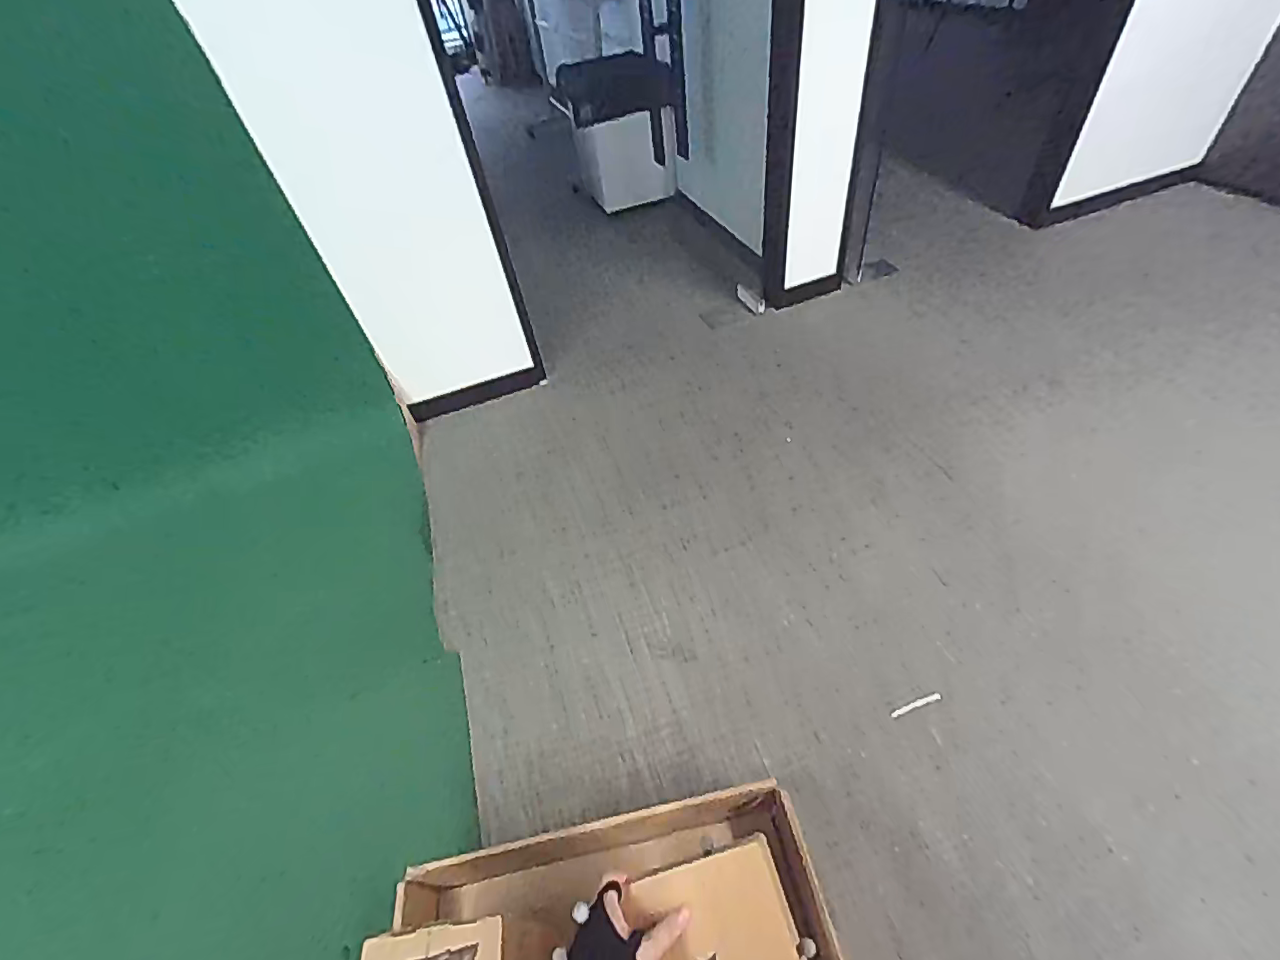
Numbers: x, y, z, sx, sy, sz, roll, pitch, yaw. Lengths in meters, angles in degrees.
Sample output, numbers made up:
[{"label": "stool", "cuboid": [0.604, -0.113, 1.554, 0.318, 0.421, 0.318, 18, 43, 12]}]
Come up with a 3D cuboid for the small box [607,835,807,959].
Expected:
[{"label": "small box", "cuboid": [0.080, 0.485, 0.552, 0.168, 0.176, 0.179, -20, 60, 2]}]
